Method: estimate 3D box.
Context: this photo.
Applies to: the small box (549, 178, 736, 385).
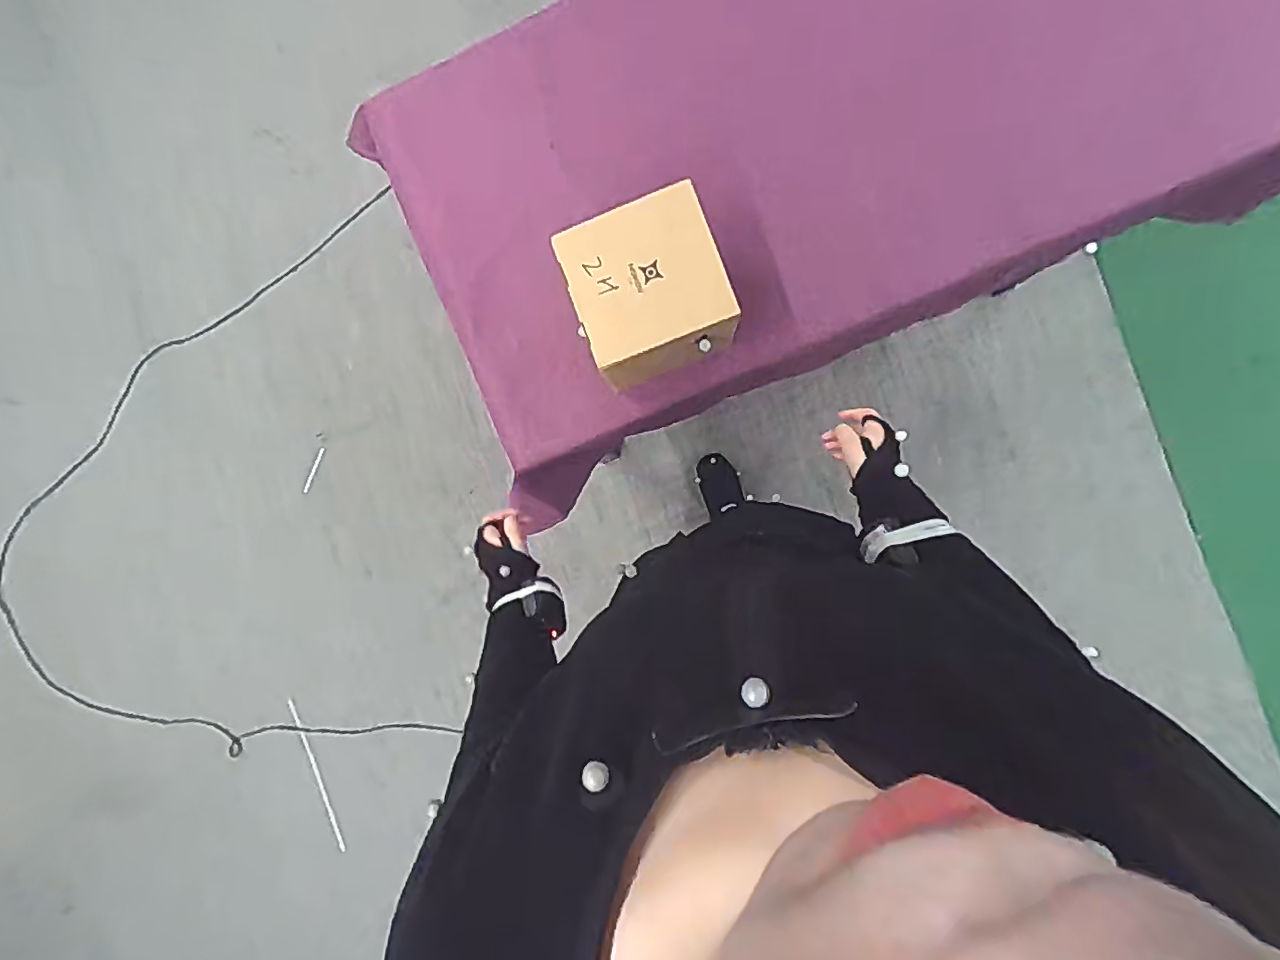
[{"bbox_3d":[0.008,-0.238,0.695,0.179,0.176,0.168,-21,88,6],"label":"small box"}]
